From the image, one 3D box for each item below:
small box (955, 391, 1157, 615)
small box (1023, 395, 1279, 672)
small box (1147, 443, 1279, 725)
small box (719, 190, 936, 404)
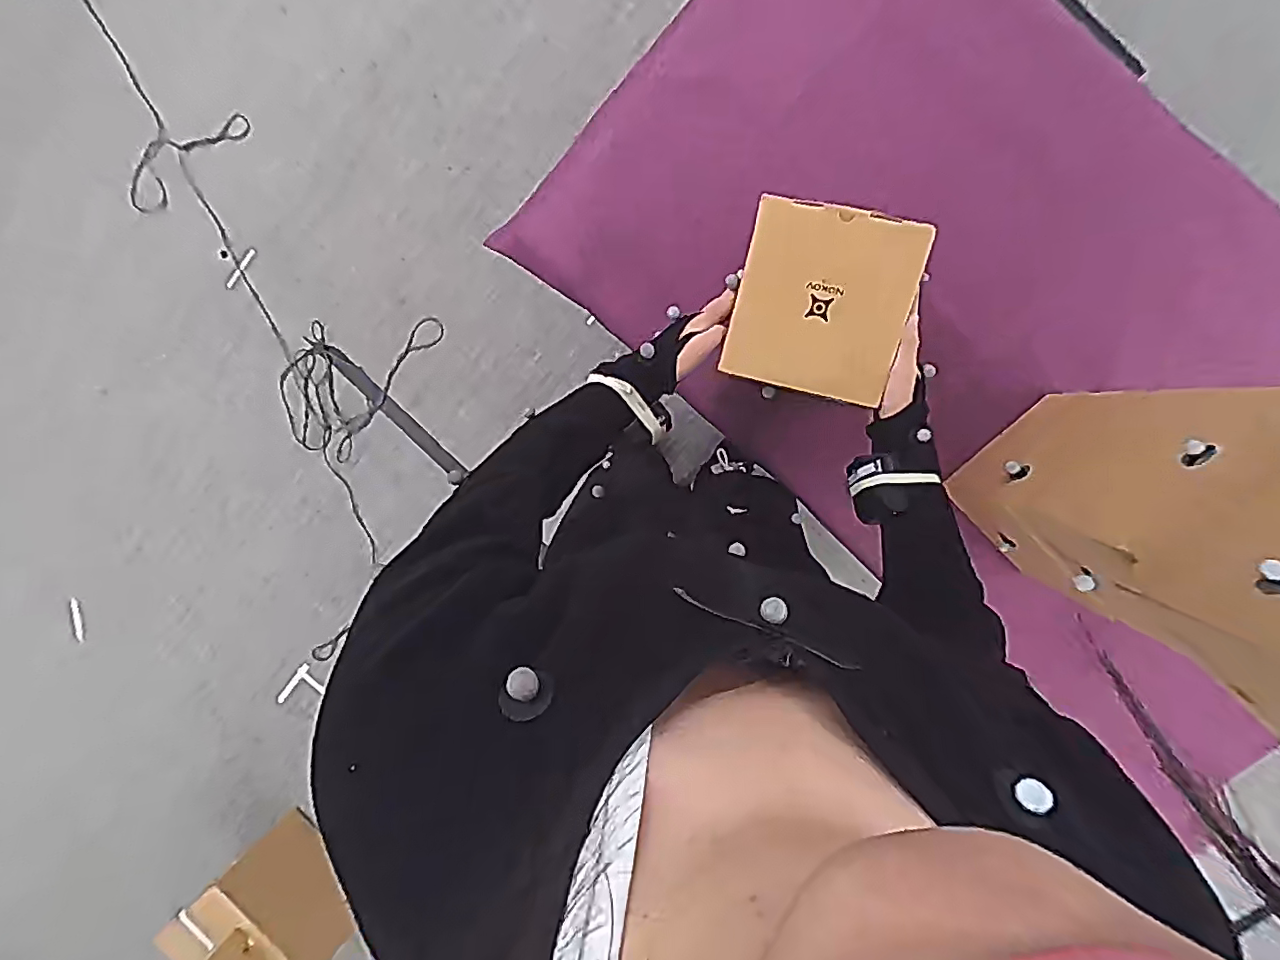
[{"bbox_3d":[0.506,0.017,0.627,0.179,0.176,0.168,-44,91,10],"label":"small box"},{"bbox_3d":[0.492,0.039,0.465,0.179,0.176,0.168,-44,91,11],"label":"small box"},{"bbox_3d":[0.459,0.078,0.309,0.168,0.176,0.179,42,100,-1],"label":"small box"},{"bbox_3d":[0.193,-0.189,0.601,0.168,0.176,0.179,15,101,8],"label":"small box"}]
